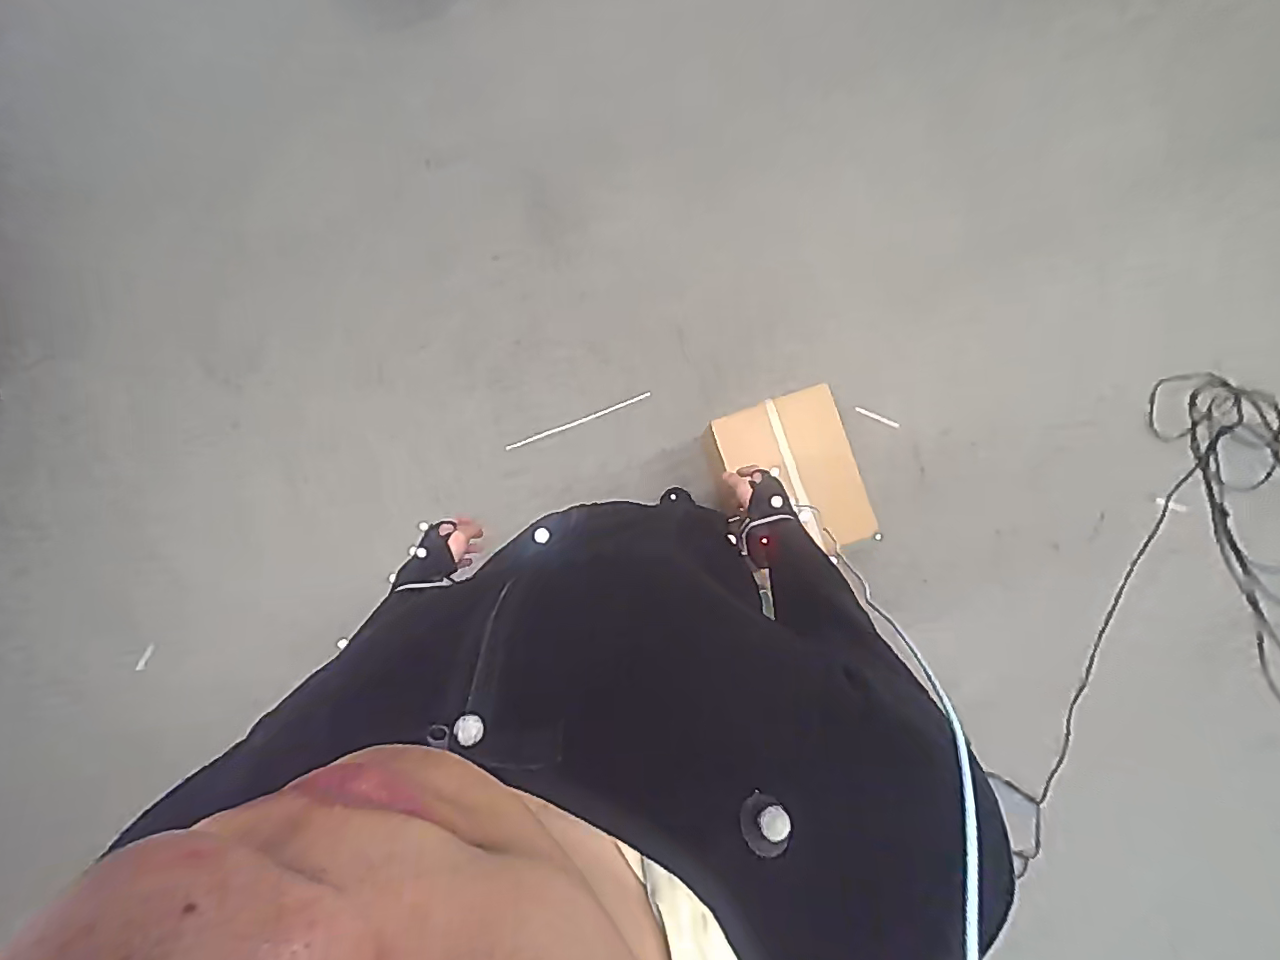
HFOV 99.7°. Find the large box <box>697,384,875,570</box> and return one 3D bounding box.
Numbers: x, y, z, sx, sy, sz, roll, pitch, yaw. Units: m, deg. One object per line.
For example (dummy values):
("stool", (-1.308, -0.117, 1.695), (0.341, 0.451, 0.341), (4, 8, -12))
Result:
("large box", (0.380, -0.005, 1.502), (0.320, 0.320, 0.408), (-19, 88, 1))
